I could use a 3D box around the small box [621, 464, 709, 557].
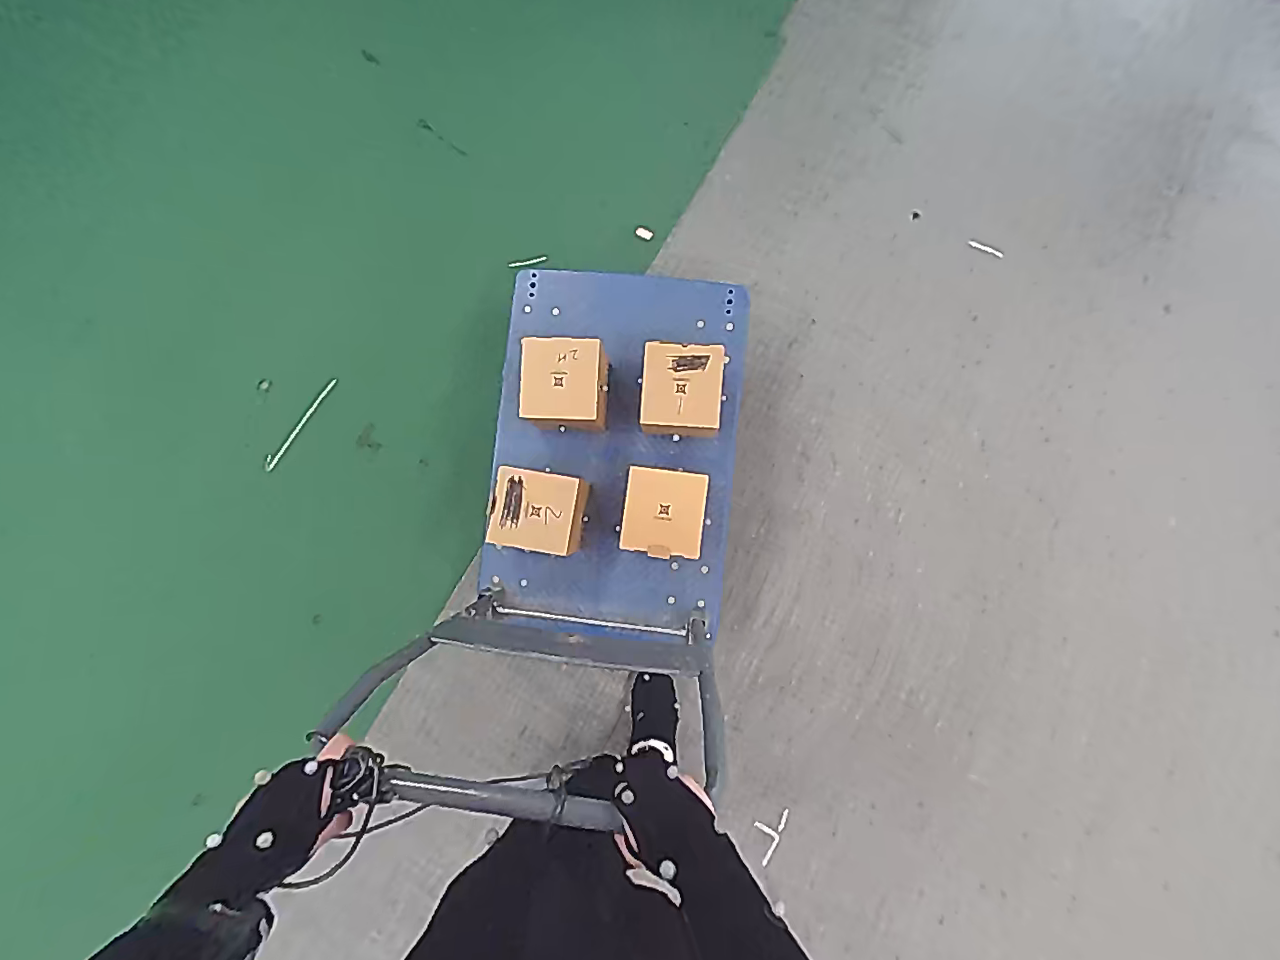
[{"bbox_3d":[0.055,0.065,1.184,0.168,0.176,0.179,7,88,4],"label":"small box"}]

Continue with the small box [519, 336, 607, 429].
[{"bbox_3d":[-0.166,-0.211,1.212,0.168,0.176,0.179,2,87,3],"label":"small box"}]

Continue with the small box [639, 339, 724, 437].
[{"bbox_3d":[0.090,-0.197,1.194,0.168,0.176,0.179,4,88,5],"label":"small box"}]
